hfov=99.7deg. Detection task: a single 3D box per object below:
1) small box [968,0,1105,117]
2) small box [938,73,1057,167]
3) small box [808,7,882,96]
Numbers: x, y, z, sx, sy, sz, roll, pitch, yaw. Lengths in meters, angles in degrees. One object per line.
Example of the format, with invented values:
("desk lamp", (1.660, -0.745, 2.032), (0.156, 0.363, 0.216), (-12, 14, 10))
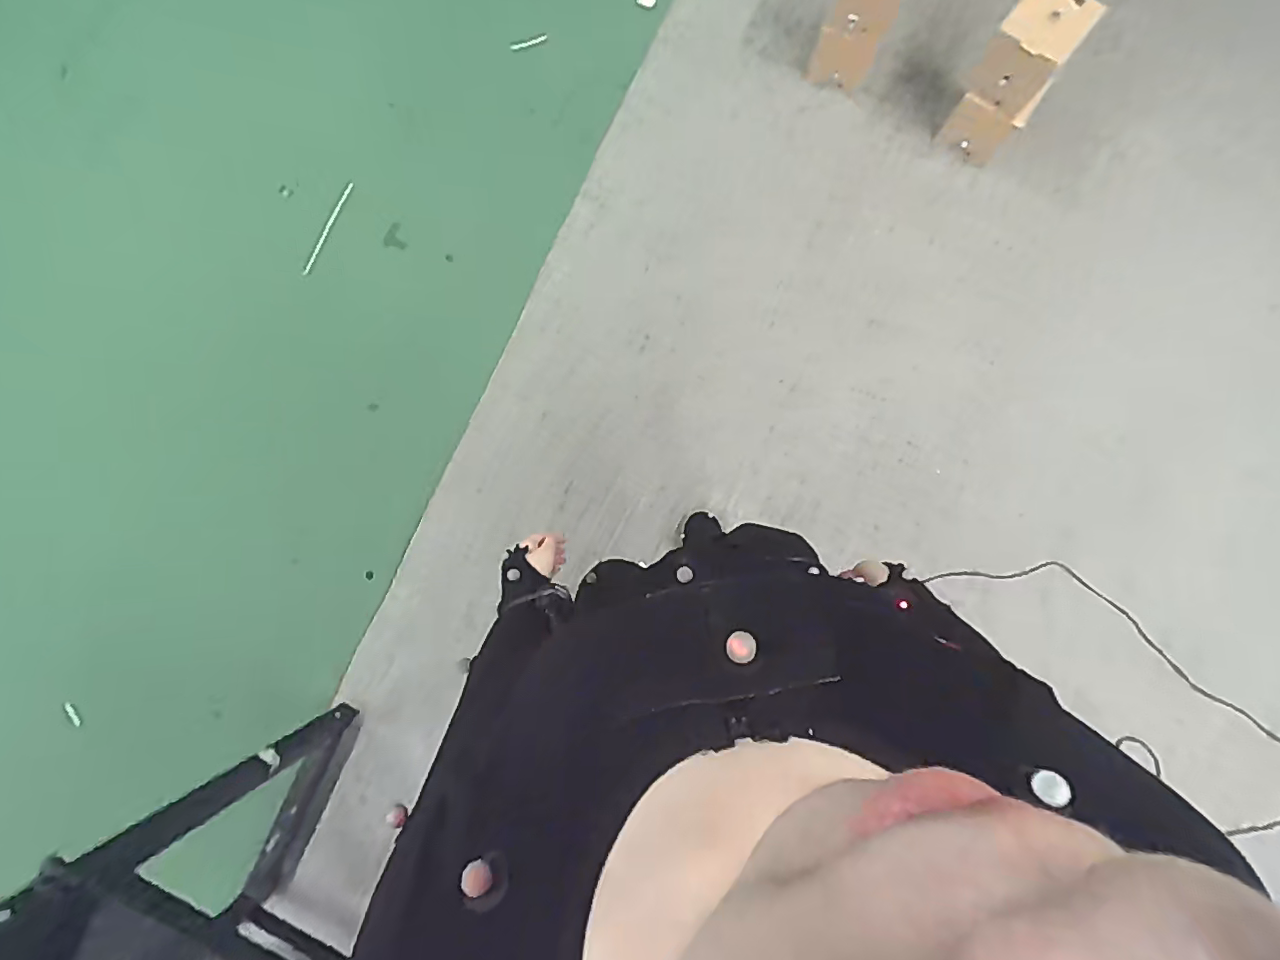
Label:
("small box", (0.923, -1.023, 1.285), (0.168, 0.176, 0.179), (39, 89, 5))
("small box", (0.943, -0.992, 1.446), (0.168, 0.176, 0.179), (35, 89, 5))
("small box", (0.578, -1.215, 1.481), (0.168, 0.176, 0.179), (21, 87, 4))
